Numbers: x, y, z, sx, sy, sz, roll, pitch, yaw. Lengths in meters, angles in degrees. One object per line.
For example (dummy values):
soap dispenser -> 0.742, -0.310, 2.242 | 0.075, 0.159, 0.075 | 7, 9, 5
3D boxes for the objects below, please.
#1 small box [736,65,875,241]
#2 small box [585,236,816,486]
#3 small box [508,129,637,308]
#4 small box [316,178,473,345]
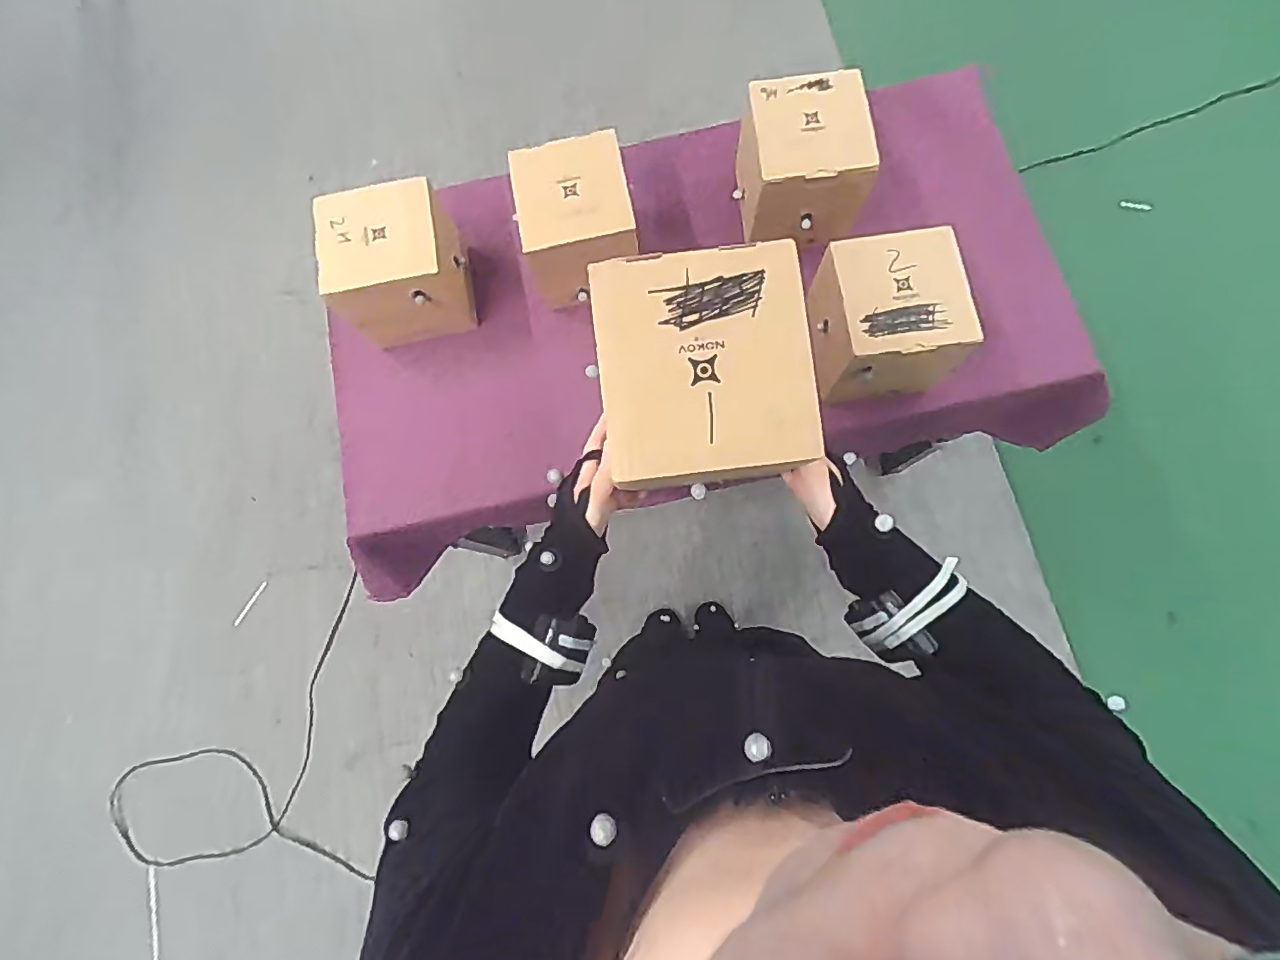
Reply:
small box -> 0.248, -0.496, 0.851 | 0.168, 0.176, 0.179 | -5, 78, 3
small box -> 0.047, -0.092, 0.496 | 0.168, 0.176, 0.179 | -6, 87, 2
small box -> -0.098, -0.404, 0.858 | 0.168, 0.176, 0.179 | -11, 77, 2
small box -> -0.378, -0.337, 0.861 | 0.179, 0.176, 0.168 | -11, 77, 1
